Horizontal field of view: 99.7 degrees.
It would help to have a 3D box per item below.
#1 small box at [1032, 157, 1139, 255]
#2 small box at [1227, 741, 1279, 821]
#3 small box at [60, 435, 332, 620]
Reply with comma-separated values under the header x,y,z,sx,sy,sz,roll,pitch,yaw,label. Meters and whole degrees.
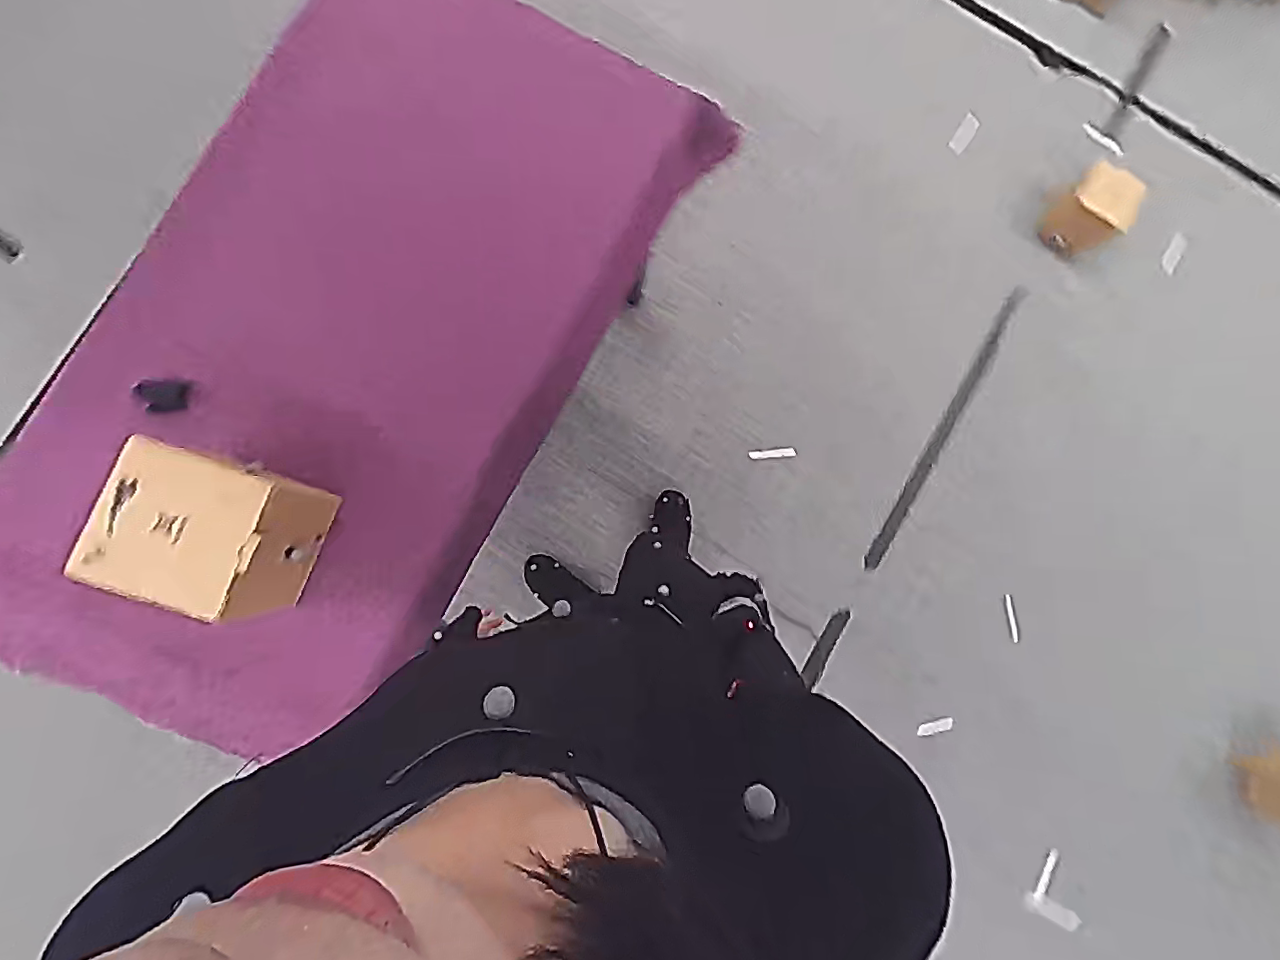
x,y,z,sx,sy,sz,roll,pitch,yaw,label
1.387,-0.851,1.696,0.168,0.176,0.179,31,83,0,small box
1.849,0.861,1.532,0.179,0.176,0.168,-8,83,-5,small box
-0.532,0.060,0.682,0.179,0.176,0.168,19,81,-3,small box
